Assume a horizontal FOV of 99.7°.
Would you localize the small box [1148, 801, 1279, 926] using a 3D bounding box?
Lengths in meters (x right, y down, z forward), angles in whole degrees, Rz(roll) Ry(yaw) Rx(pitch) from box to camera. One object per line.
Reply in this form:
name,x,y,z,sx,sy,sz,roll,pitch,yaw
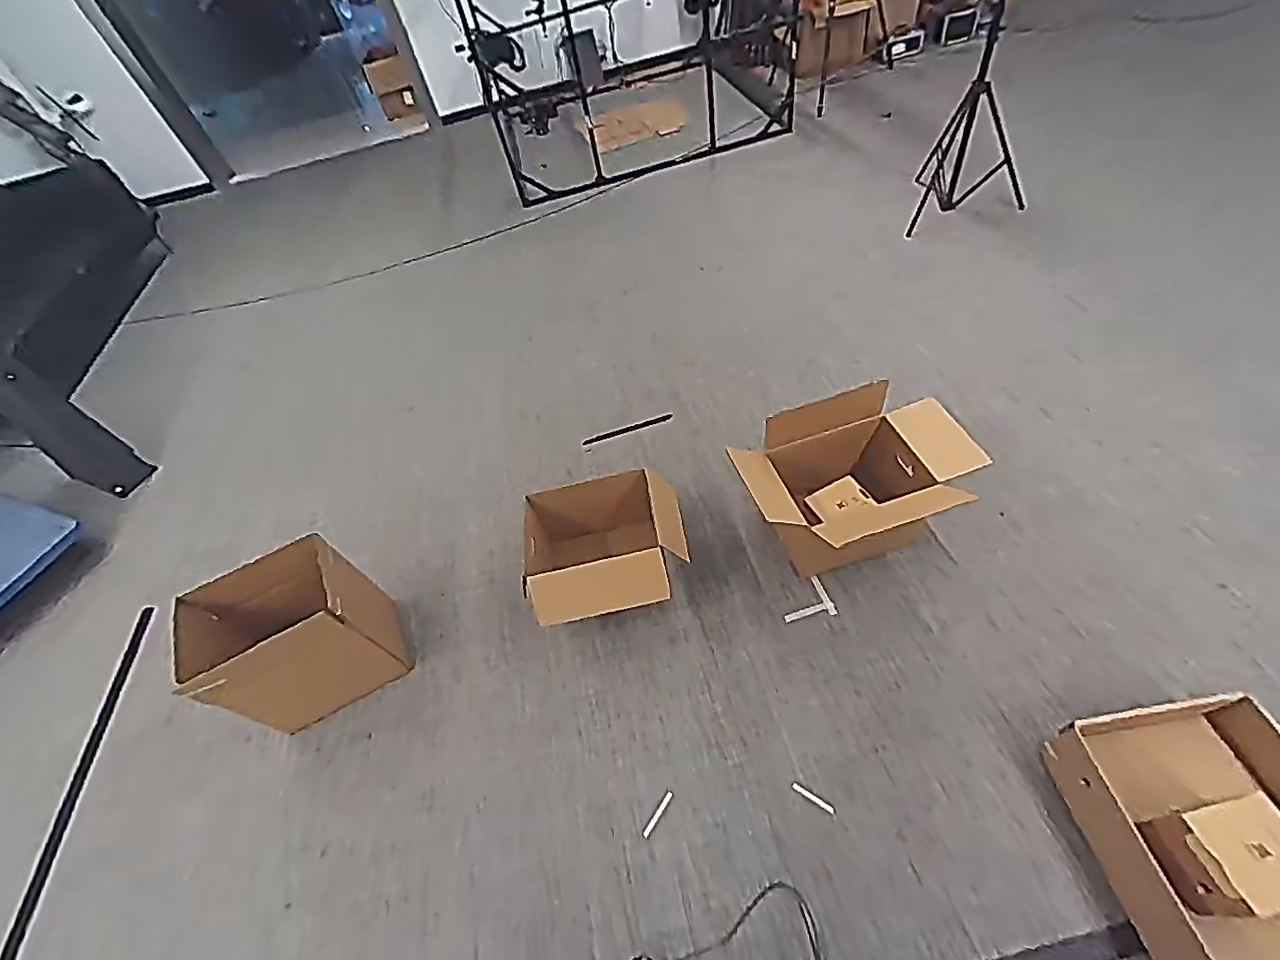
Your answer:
small box,1.172,0.760,1.069,0.179,0.176,0.168,-15,51,-1
